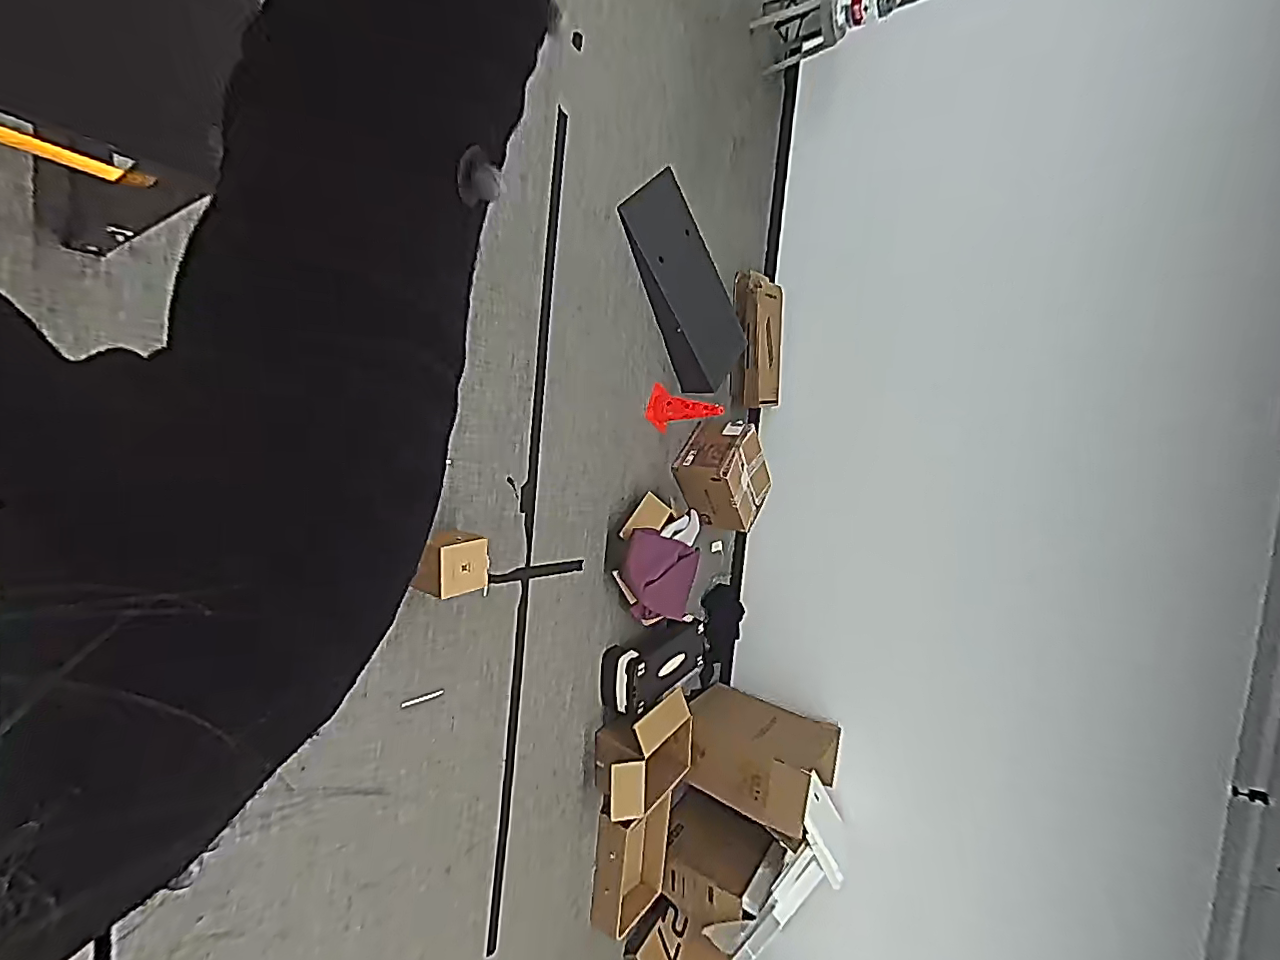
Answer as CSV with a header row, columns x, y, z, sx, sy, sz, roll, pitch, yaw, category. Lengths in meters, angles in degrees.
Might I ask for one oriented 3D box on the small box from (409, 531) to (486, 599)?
x,y,z,sx,sy,sz,roll,pitch,yaw,category
-0.615,0.264,1.730,0.179,0.176,0.168,-8,103,-52,small box
